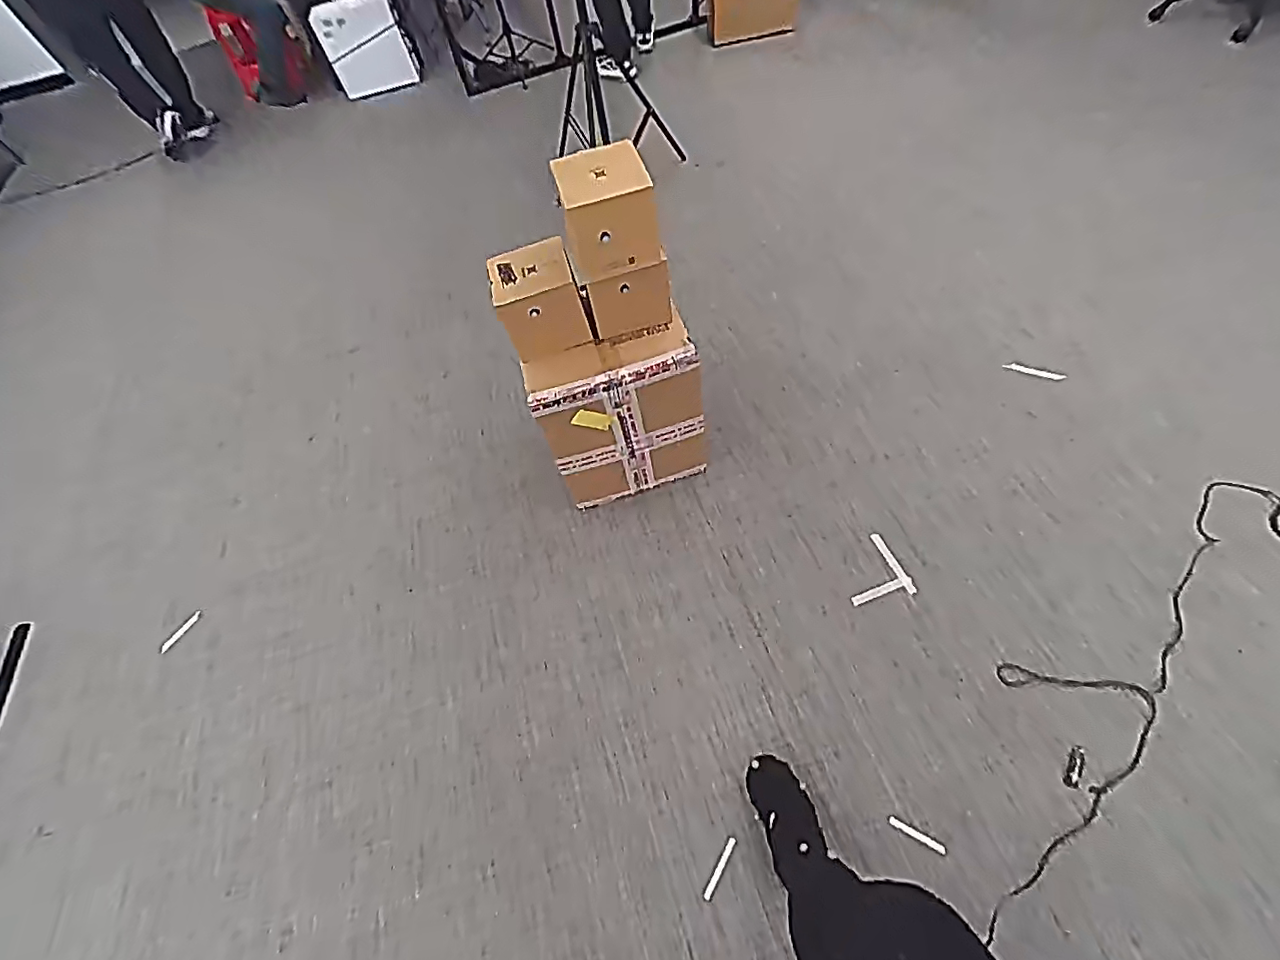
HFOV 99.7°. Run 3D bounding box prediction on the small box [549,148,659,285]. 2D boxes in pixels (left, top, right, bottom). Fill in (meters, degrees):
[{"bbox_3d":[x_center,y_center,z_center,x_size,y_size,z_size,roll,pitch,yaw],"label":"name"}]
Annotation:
[{"bbox_3d":[-0.067,-0.511,1.071,0.168,0.176,0.179,-17,57,-2],"label":"small box"}]
